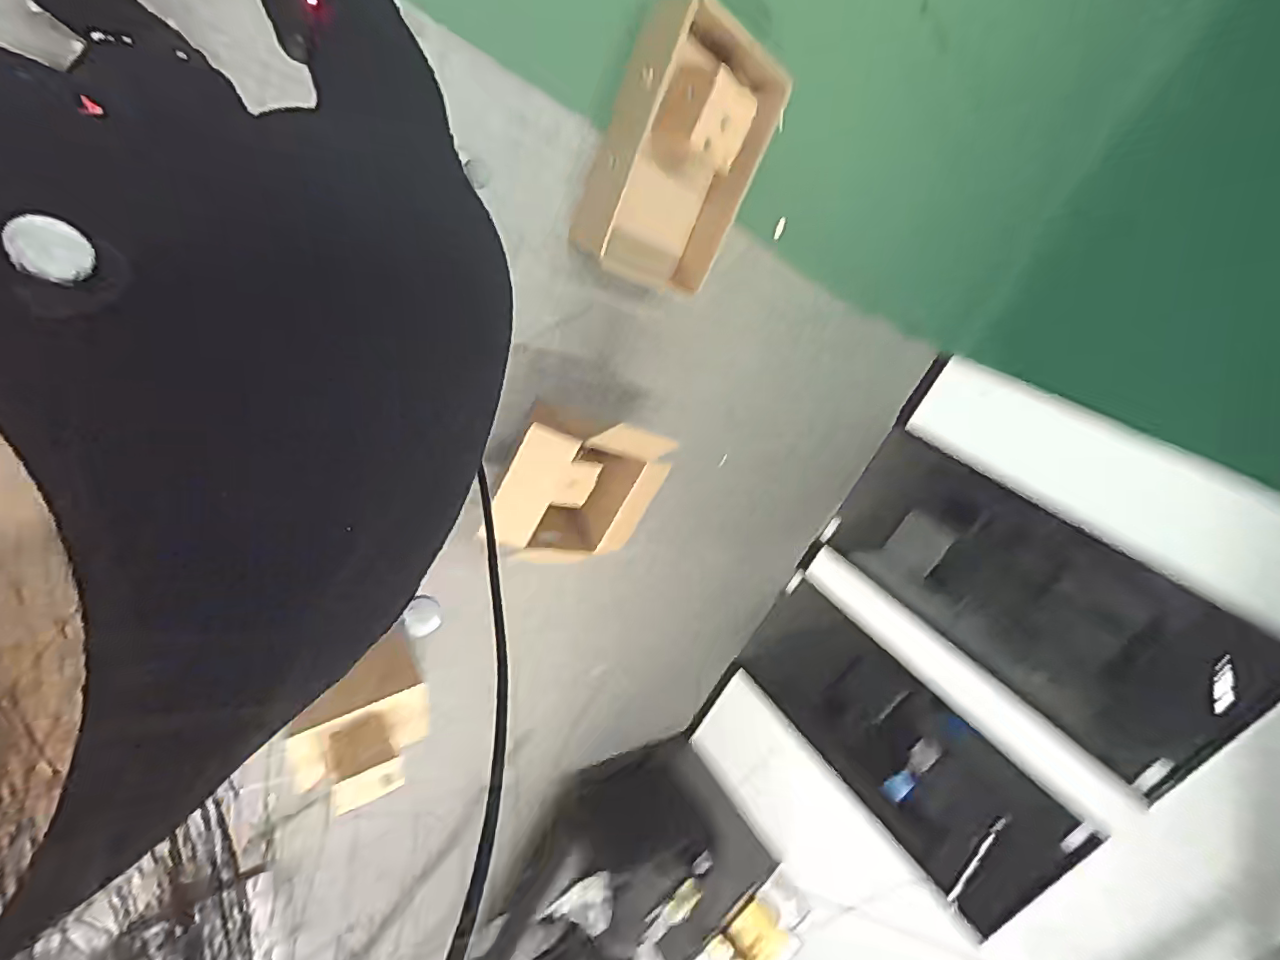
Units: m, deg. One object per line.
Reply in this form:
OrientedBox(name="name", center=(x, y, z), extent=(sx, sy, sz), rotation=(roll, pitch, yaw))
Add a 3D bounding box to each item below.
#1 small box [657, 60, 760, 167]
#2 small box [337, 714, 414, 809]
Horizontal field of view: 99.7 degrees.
OrientedBox(name="small box", center=(0.173, -0.962, 1.418), extent=(0.168, 0.176, 0.179), rotation=(3, 121, -45))
OrientedBox(name="small box", center=(-0.831, 0.877, 1.702), extent=(0.179, 0.176, 0.168), rotation=(-14, 129, -33))
